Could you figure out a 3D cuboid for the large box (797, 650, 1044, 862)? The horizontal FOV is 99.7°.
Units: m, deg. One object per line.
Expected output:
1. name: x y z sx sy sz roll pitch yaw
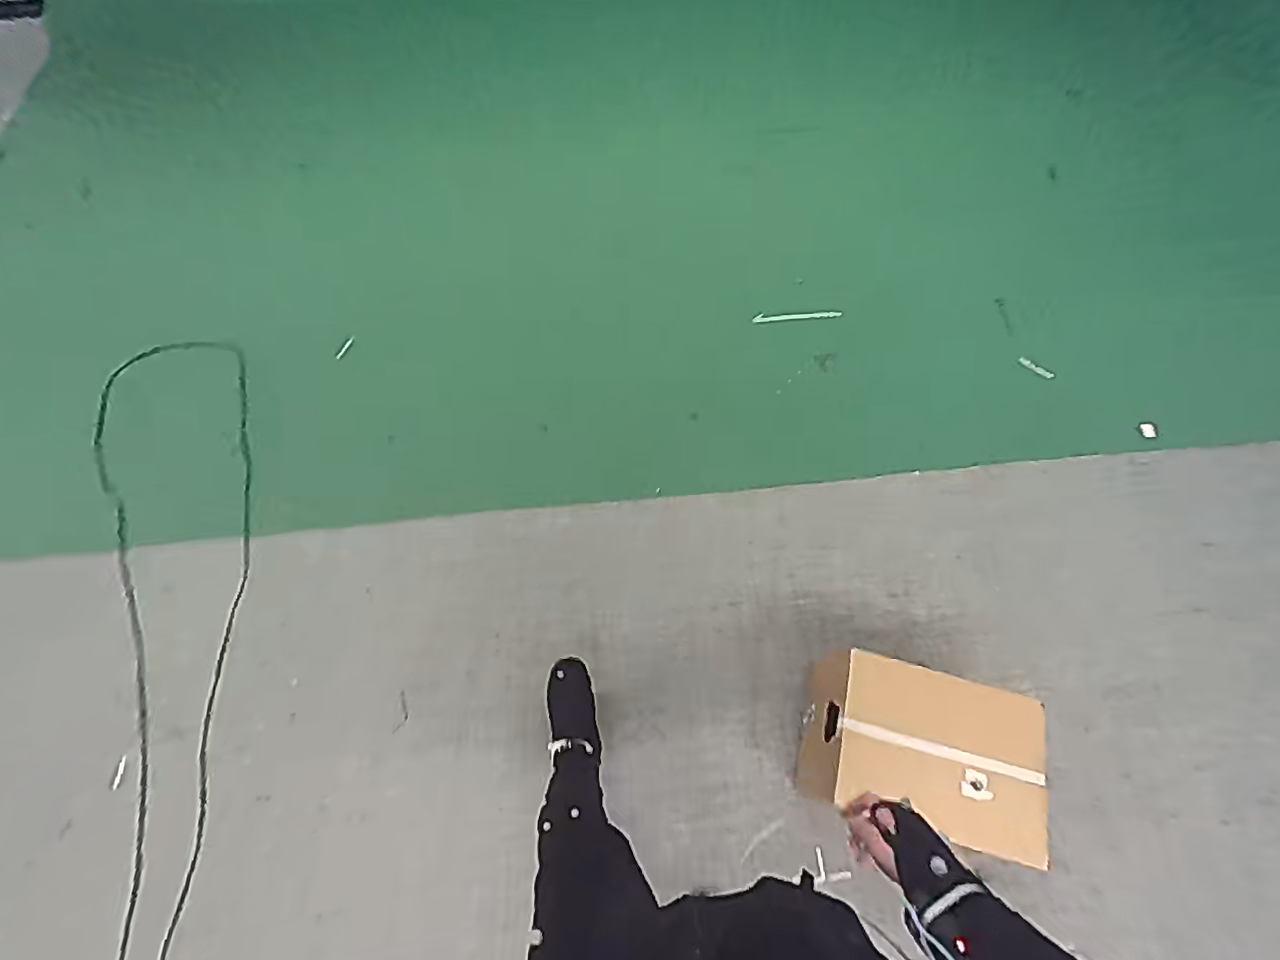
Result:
1. large box: 0.610 0.612 1.239 0.408 0.320 0.320 14 66 7
